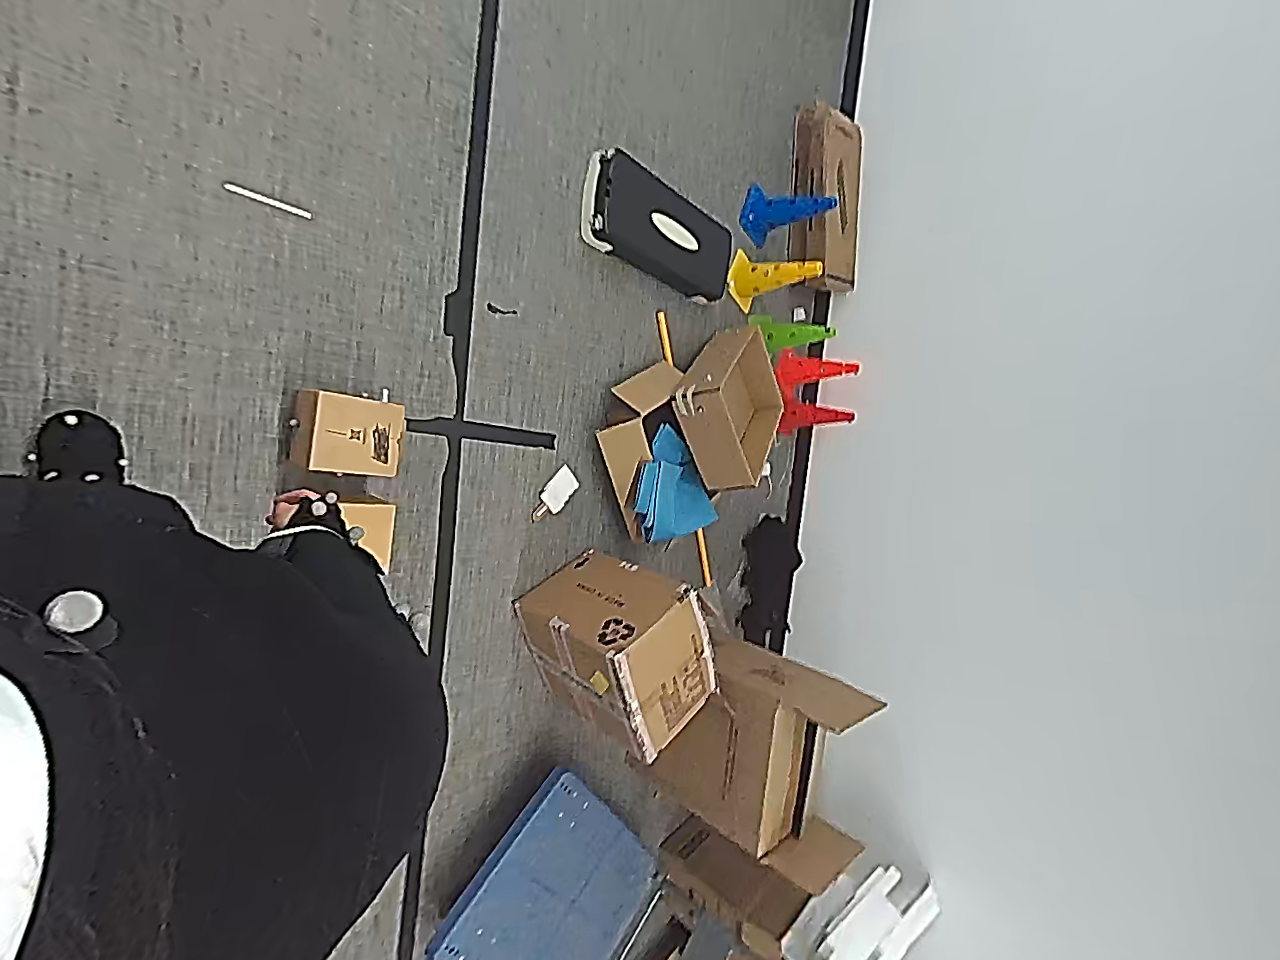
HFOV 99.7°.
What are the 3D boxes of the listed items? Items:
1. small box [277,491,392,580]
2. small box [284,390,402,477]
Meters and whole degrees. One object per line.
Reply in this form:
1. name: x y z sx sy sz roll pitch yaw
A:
1. small box: -0.689 0.119 1.220 0.179 0.176 0.168 5 94 -46
2. small box: -0.661 -0.105 1.202 0.179 0.176 0.168 8 92 -46
